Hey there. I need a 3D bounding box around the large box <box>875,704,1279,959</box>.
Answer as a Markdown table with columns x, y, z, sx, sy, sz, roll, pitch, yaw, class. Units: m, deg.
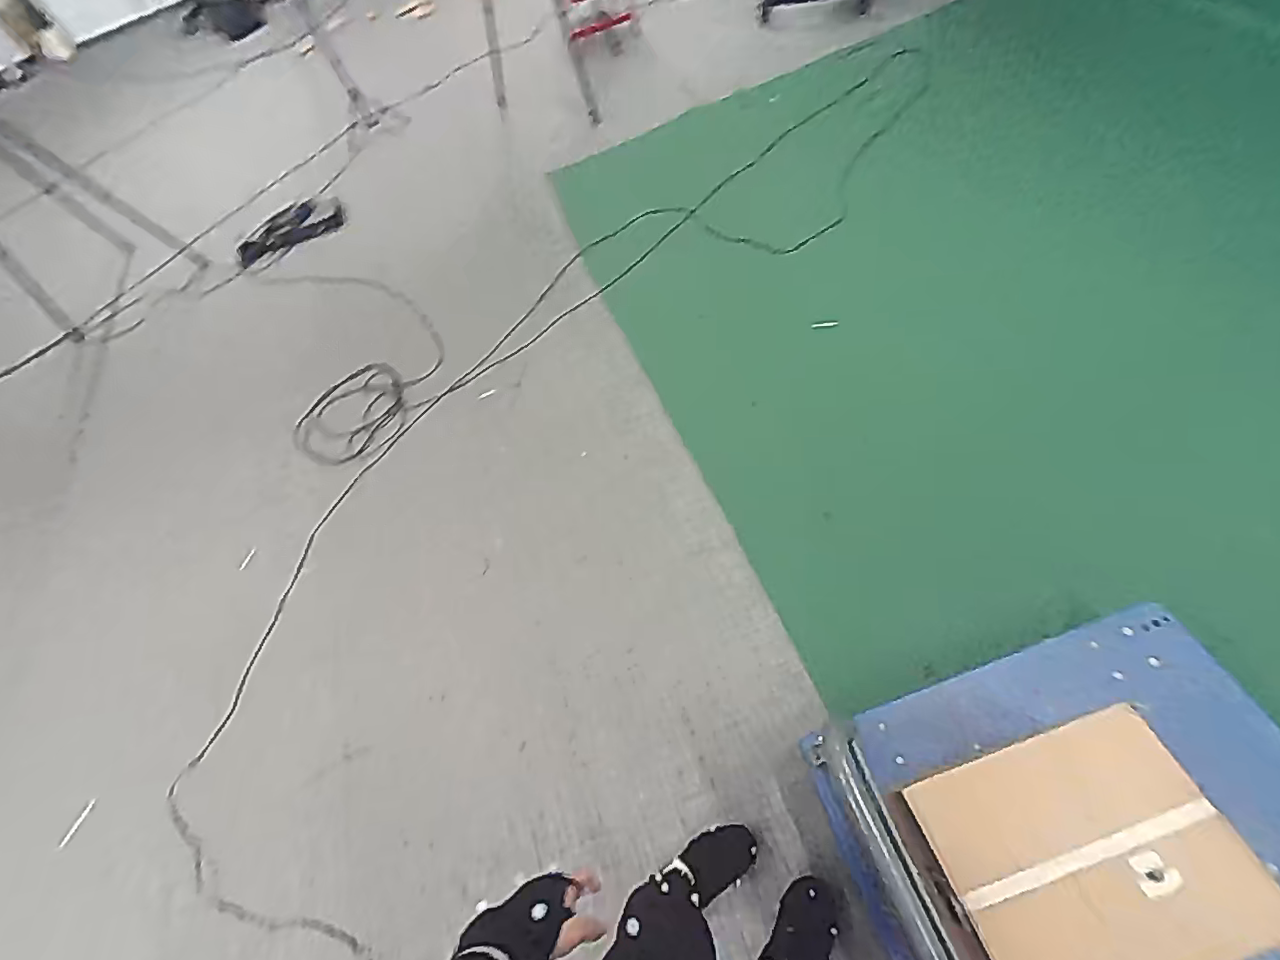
| x | y | z | sx | sy | sz | roll | pitch | yaw | class |
| --- | --- | --- | --- | --- | --- | --- | --- | --- | --- |
| 0.691 | 0.644 | 0.939 | 0.408 | 0.320 | 0.320 | -22 | 56 | 0 | large box |
